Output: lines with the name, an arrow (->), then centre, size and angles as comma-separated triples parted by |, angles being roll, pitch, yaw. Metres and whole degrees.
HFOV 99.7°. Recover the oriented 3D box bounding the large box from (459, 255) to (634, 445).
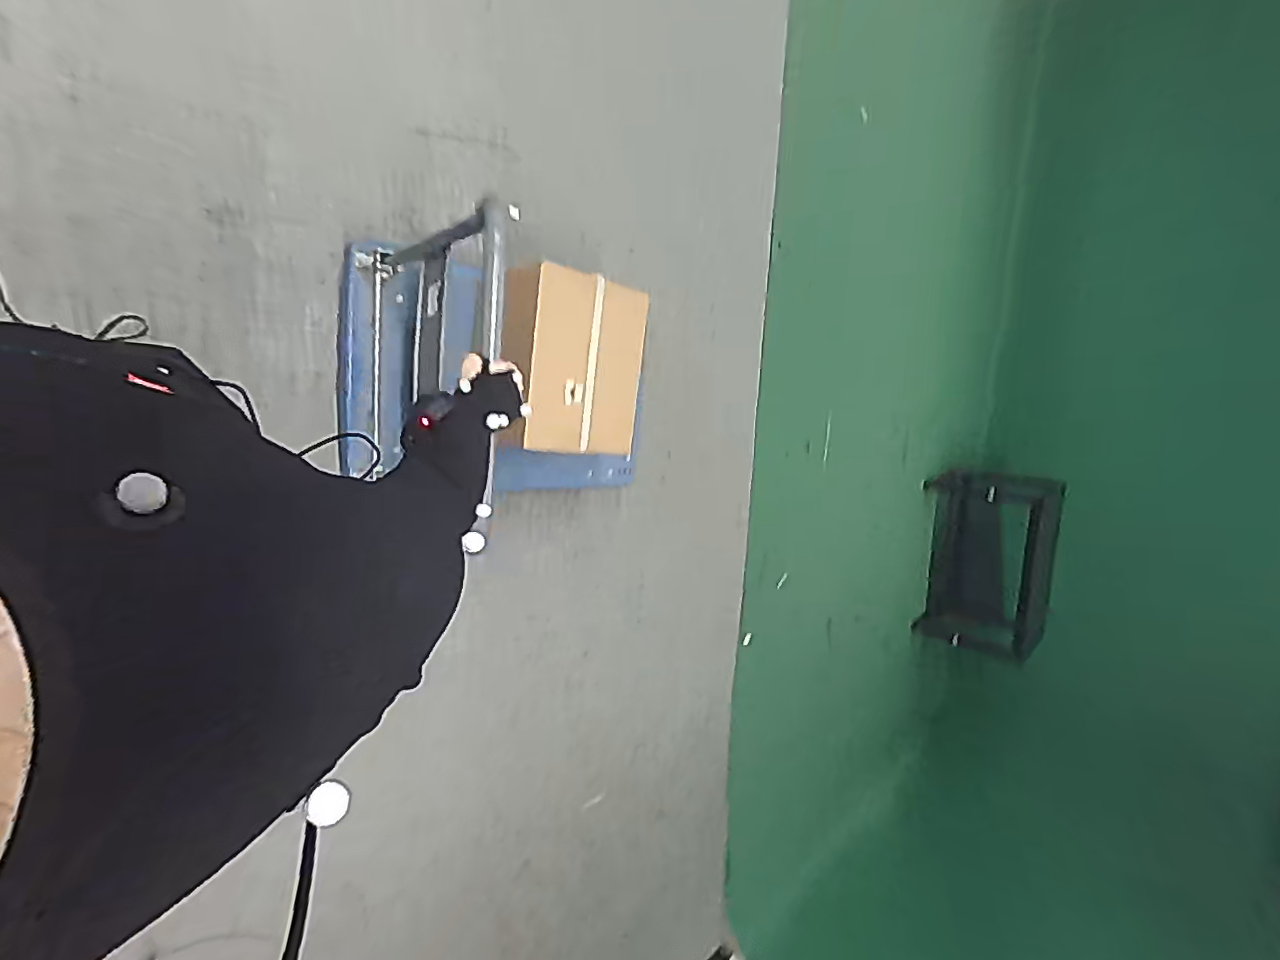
large box -> -0.244, -0.311, 1.375 | 0.320, 0.320, 0.408 | 0, 99, -42
